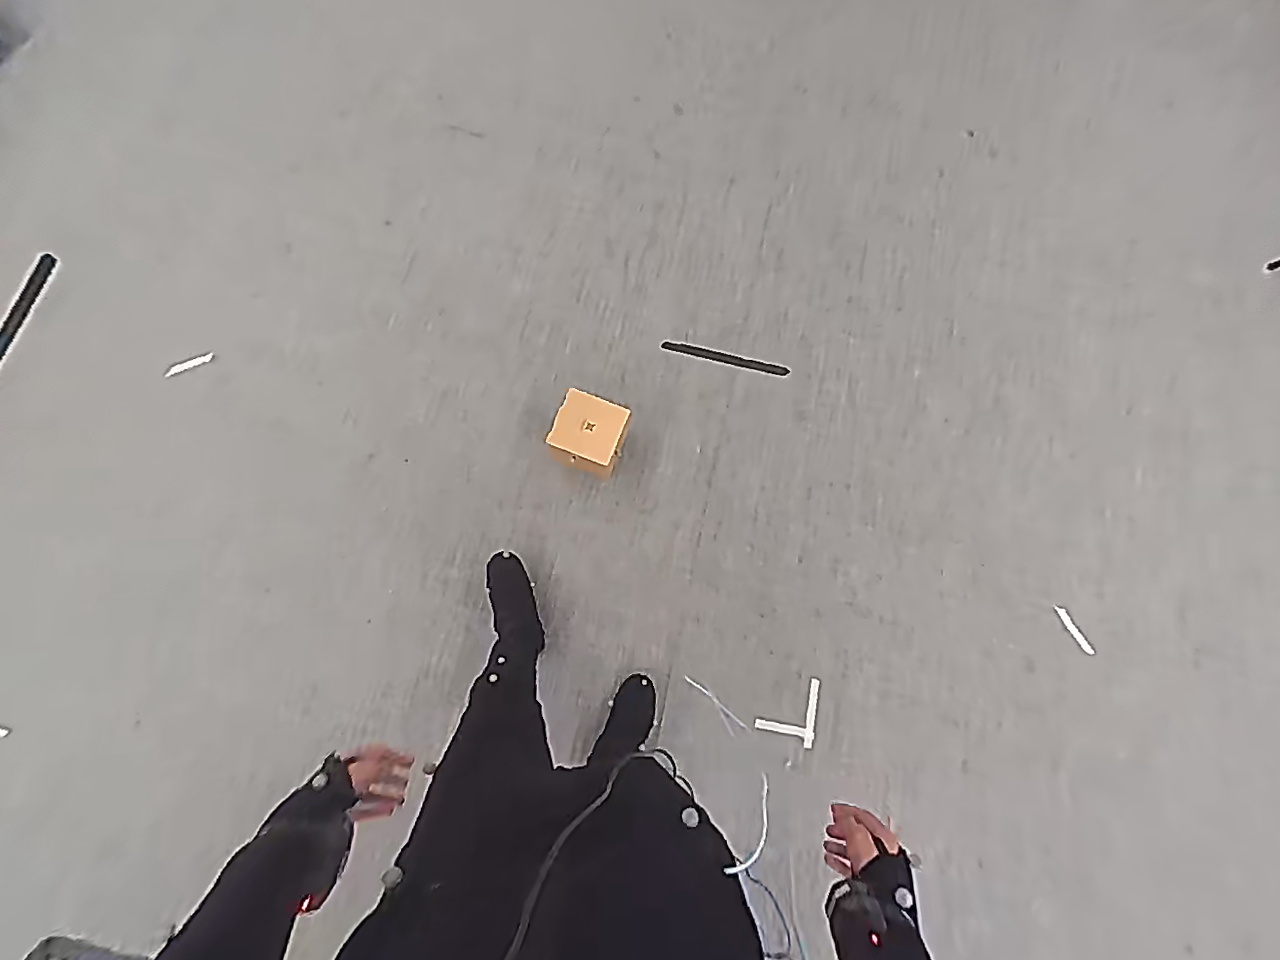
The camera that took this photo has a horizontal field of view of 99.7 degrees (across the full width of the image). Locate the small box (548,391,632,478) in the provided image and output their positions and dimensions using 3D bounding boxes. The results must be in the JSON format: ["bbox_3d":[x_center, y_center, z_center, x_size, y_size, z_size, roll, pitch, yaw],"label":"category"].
[{"bbox_3d":[-0.131,-0.117,1.482,0.179,0.176,0.168,21,78,3],"label":"small box"}]
